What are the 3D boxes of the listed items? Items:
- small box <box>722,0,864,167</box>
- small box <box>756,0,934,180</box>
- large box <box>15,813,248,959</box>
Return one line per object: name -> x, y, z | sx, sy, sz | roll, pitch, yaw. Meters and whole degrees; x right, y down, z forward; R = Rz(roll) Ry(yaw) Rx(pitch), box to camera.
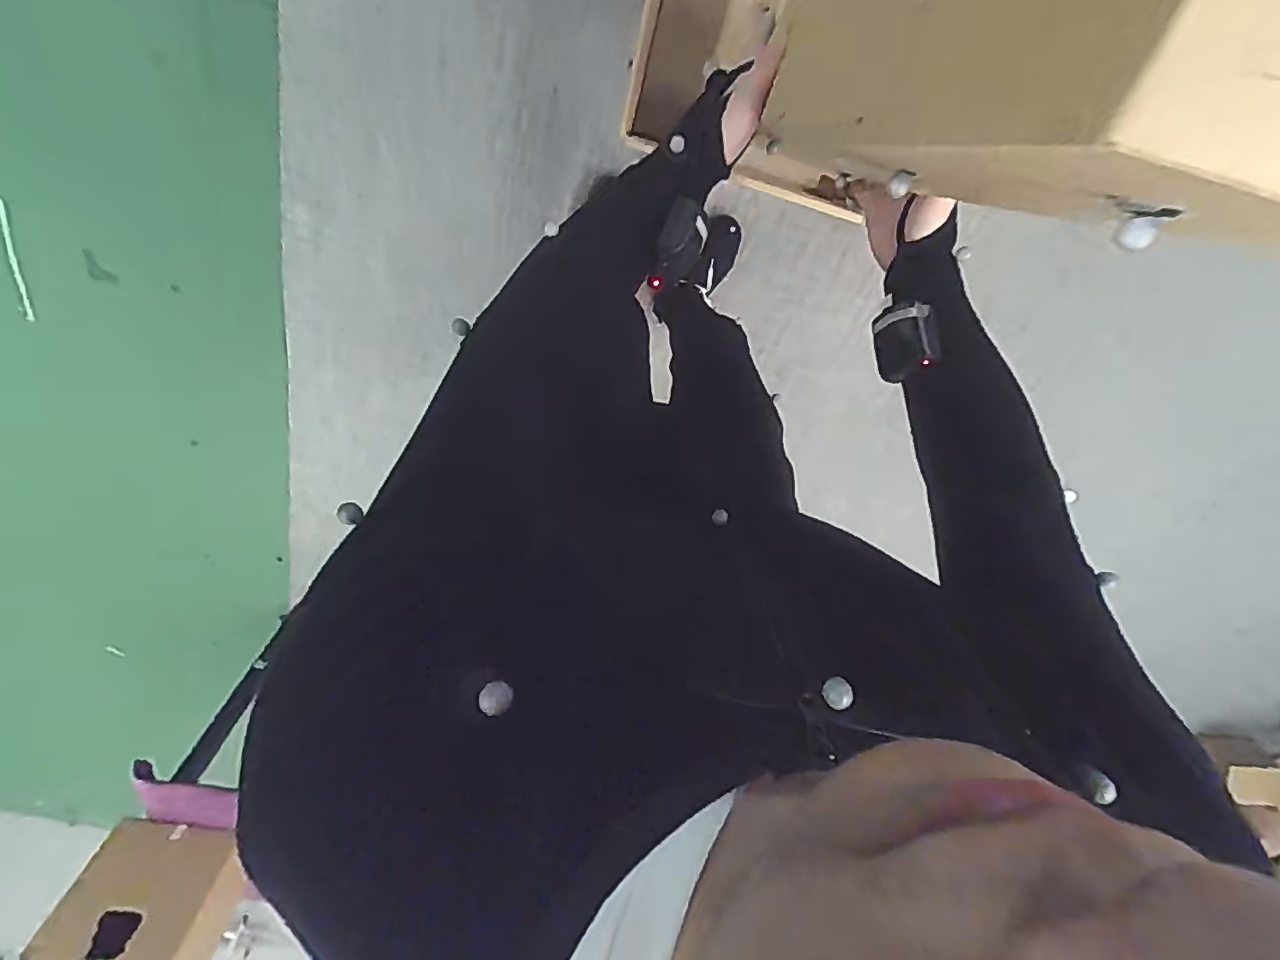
small box -> 0.201, -0.447, 0.576 | 0.179, 0.176, 0.168 | 14, 120, -10
small box -> 0.207, -0.363, 0.435 | 0.168, 0.176, 0.179 | 16, 120, -11
large box -> -1.327, 1.180, 1.469 | 0.320, 0.320, 0.408 | 16, 122, -12
